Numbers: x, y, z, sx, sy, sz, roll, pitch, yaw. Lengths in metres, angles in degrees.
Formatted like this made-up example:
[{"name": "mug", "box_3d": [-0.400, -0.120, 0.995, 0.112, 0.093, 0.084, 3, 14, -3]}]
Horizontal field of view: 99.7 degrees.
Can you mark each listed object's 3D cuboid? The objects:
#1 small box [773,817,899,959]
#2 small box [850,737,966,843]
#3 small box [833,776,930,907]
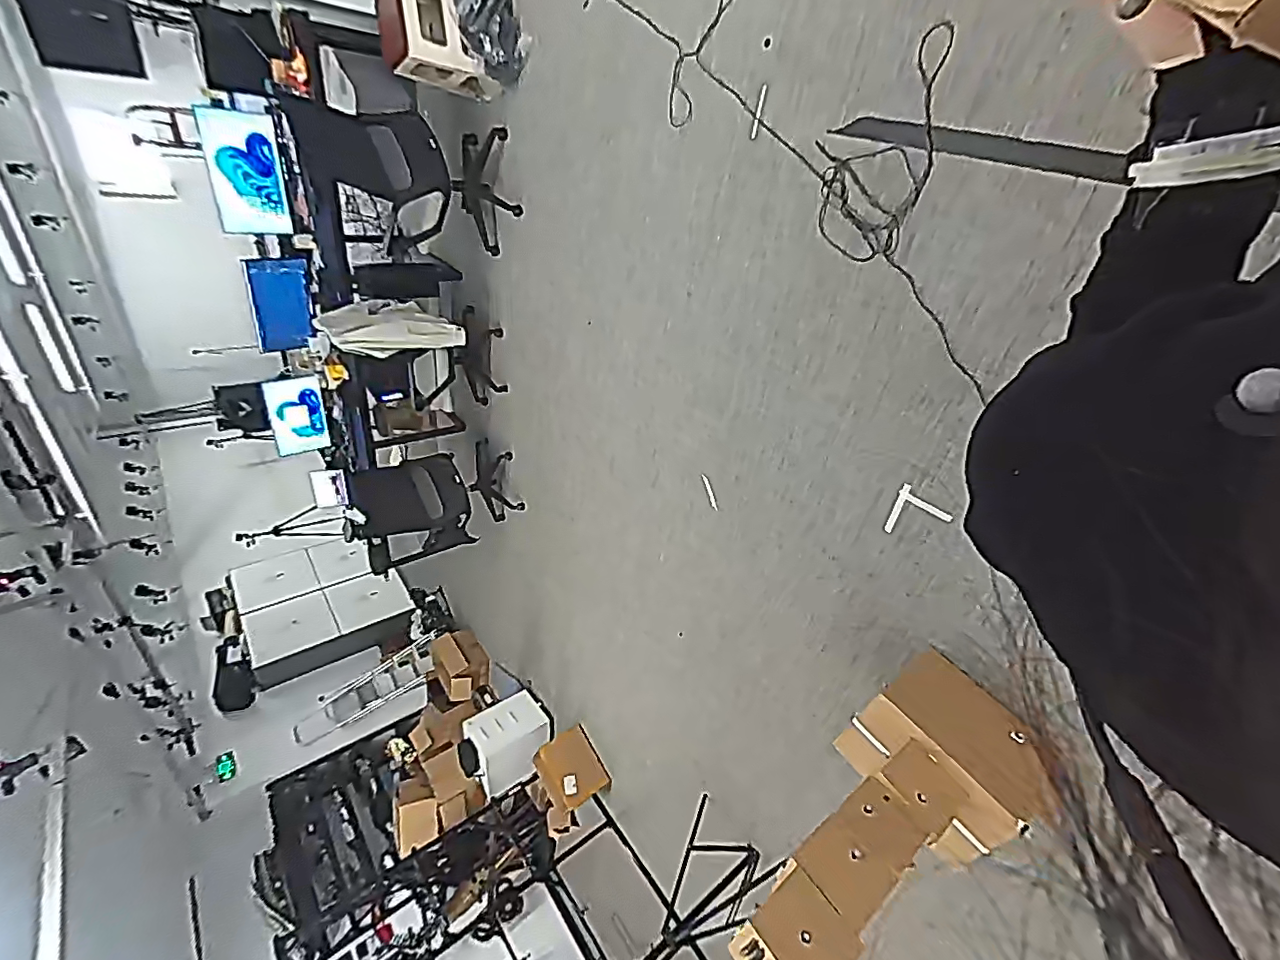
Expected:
[{"name": "small box", "box_3d": [0.436, 0.898, 1.210, 0.179, 0.176, 0.168, 40, 133, 38]}, {"name": "small box", "box_3d": [0.691, 0.807, 1.391, 0.179, 0.176, 0.168, 47, 137, 31]}, {"name": "small box", "box_3d": [0.567, 0.863, 1.302, 0.168, 0.176, 0.179, 33, 130, 42]}]
